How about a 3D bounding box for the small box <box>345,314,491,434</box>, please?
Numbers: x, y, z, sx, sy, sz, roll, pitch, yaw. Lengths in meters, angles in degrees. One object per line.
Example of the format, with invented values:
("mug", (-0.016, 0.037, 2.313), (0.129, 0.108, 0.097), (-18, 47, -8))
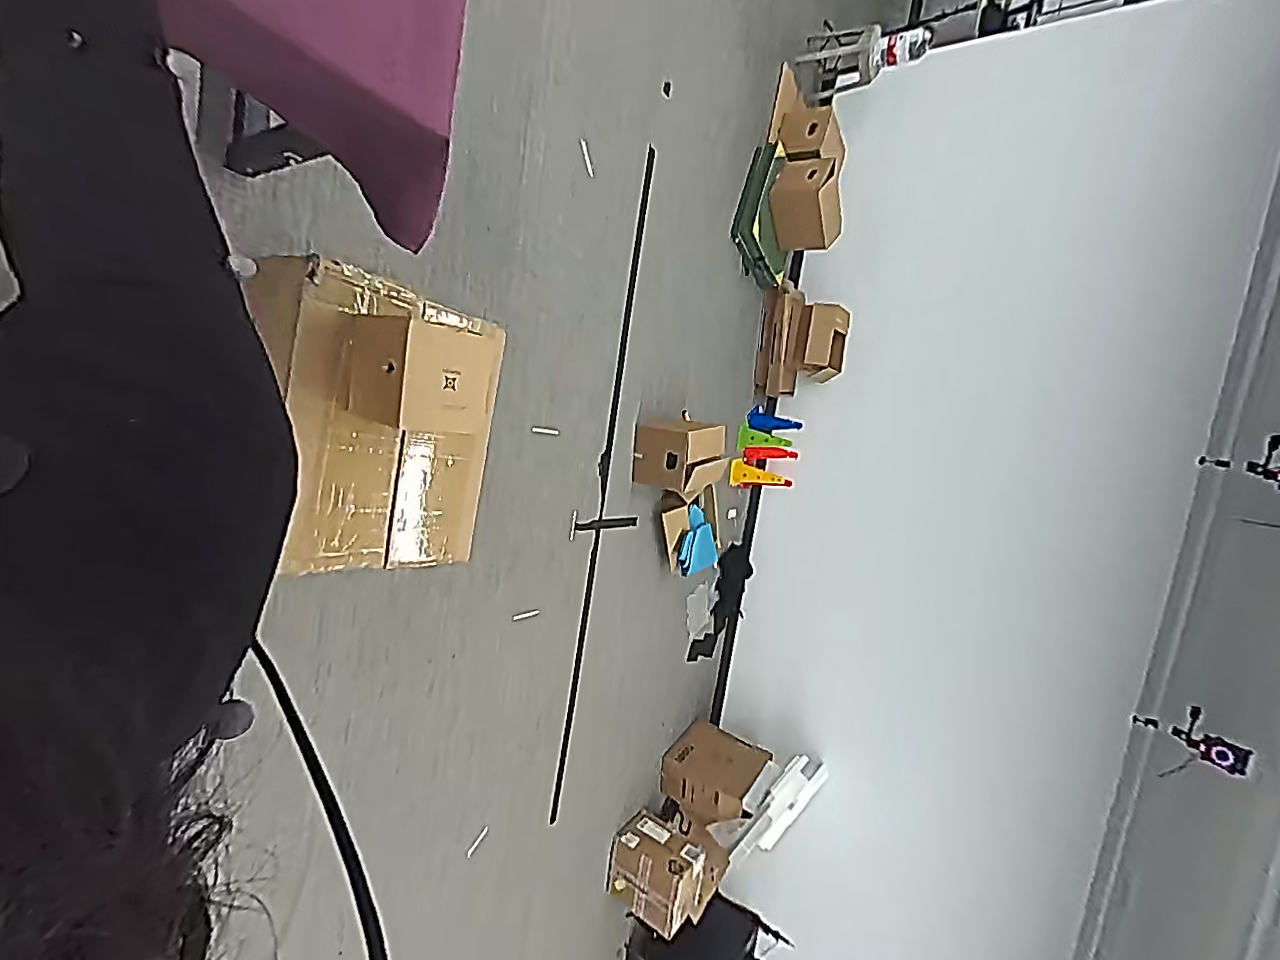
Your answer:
("small box", (-0.383, -0.182, 0.931), (0.168, 0.176, 0.179), (-1, 103, -54))
